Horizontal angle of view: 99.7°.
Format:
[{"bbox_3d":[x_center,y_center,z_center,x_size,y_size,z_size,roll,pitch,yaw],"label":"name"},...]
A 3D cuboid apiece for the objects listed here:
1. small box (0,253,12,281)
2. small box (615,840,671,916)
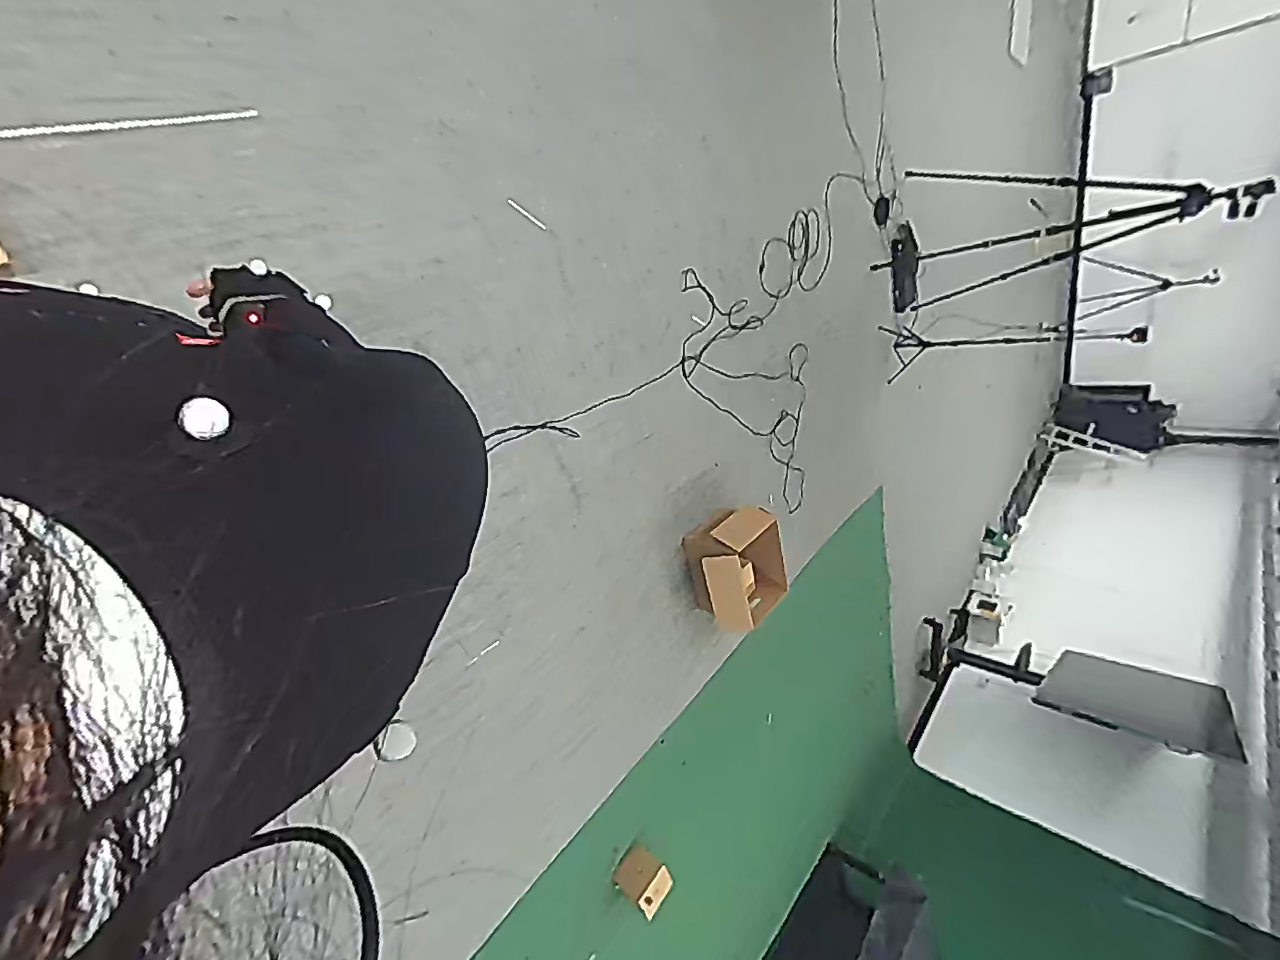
[{"bbox_3d":[-1.137,-0.389,0.829,0.168,0.176,0.179,-37,123,-34],"label":"small box"},{"bbox_3d":[0.008,1.772,2.414,0.179,0.176,0.168,-39,124,-35],"label":"small box"}]
